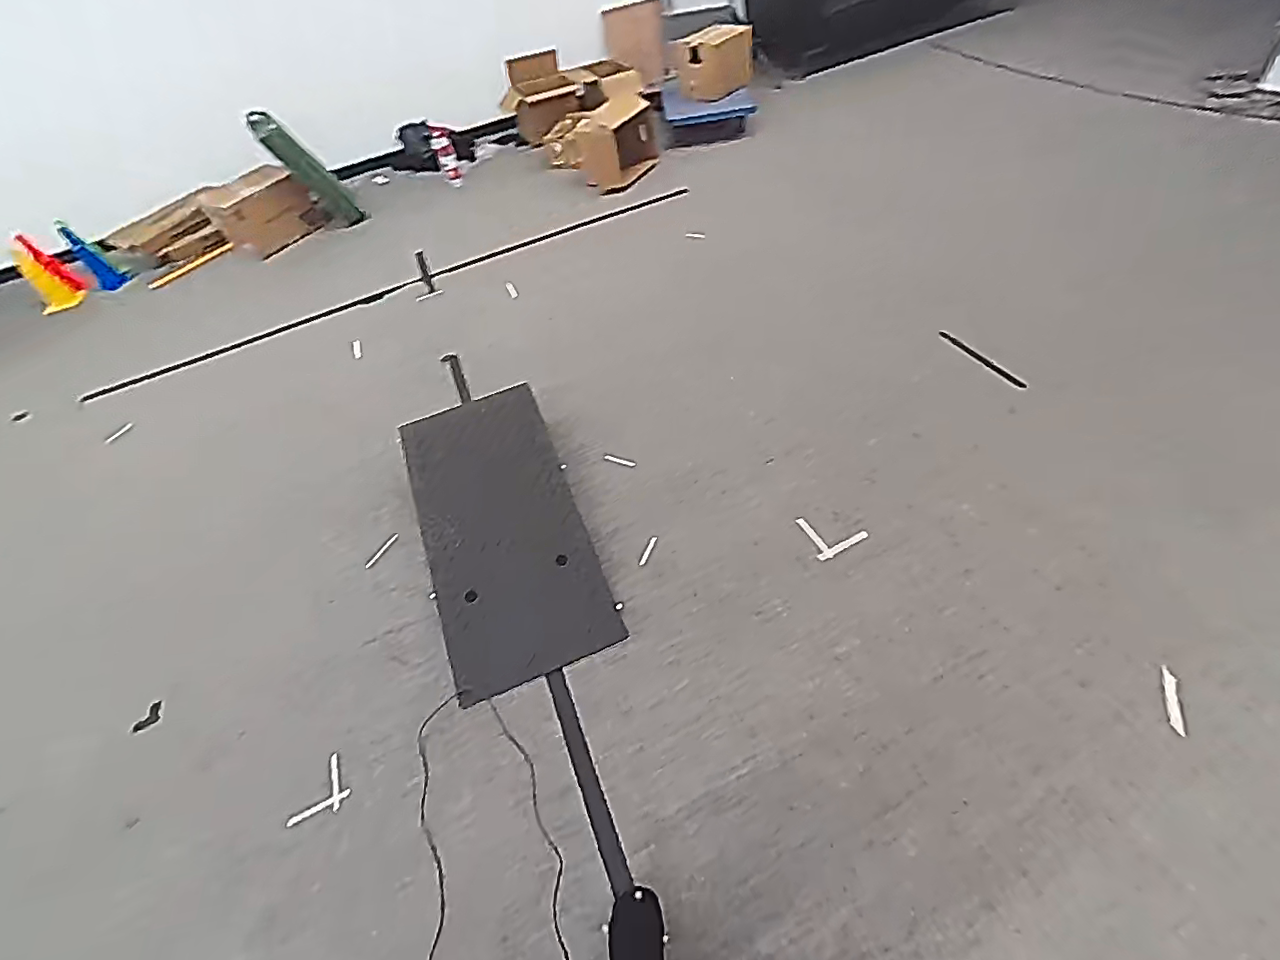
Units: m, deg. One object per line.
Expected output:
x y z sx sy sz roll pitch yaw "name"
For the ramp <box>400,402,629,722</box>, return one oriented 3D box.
-0.440 0.184 1.736 0.509 0.206 0.991 -23 50 -10 "ramp"
